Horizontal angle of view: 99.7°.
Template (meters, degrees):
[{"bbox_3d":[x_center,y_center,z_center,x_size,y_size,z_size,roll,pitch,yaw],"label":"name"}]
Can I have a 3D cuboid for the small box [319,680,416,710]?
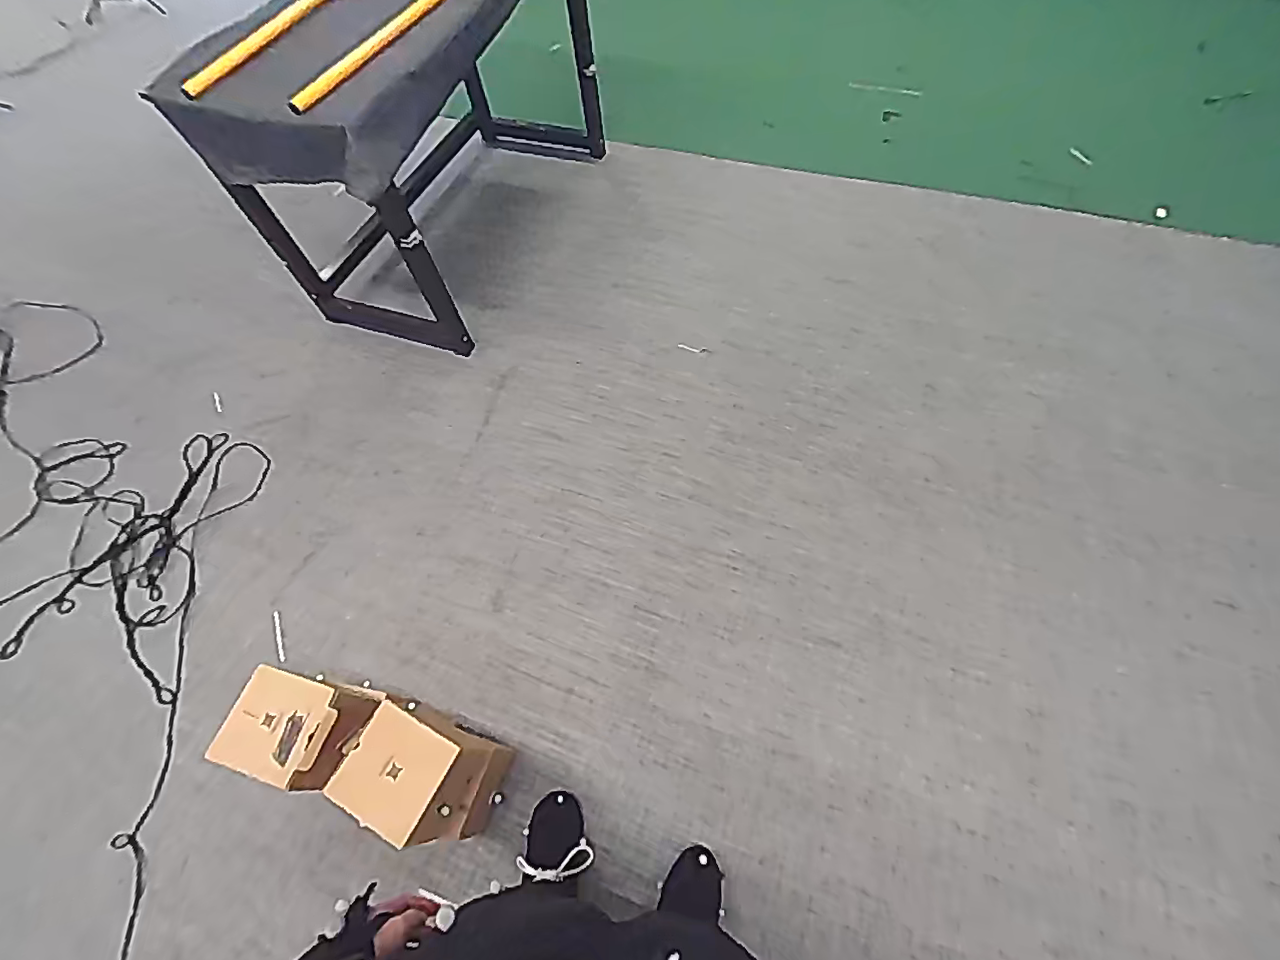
[{"bbox_3d":[-0.612,0.545,1.156,0.168,0.176,0.179,8,62,9],"label":"small box"}]

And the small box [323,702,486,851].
[{"bbox_3d":[-0.406,0.522,0.969,0.179,0.176,0.168,22,66,16],"label":"small box"}]

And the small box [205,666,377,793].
[{"bbox_3d":[-0.635,0.466,1.012,0.179,0.176,0.168,12,62,12],"label":"small box"}]
